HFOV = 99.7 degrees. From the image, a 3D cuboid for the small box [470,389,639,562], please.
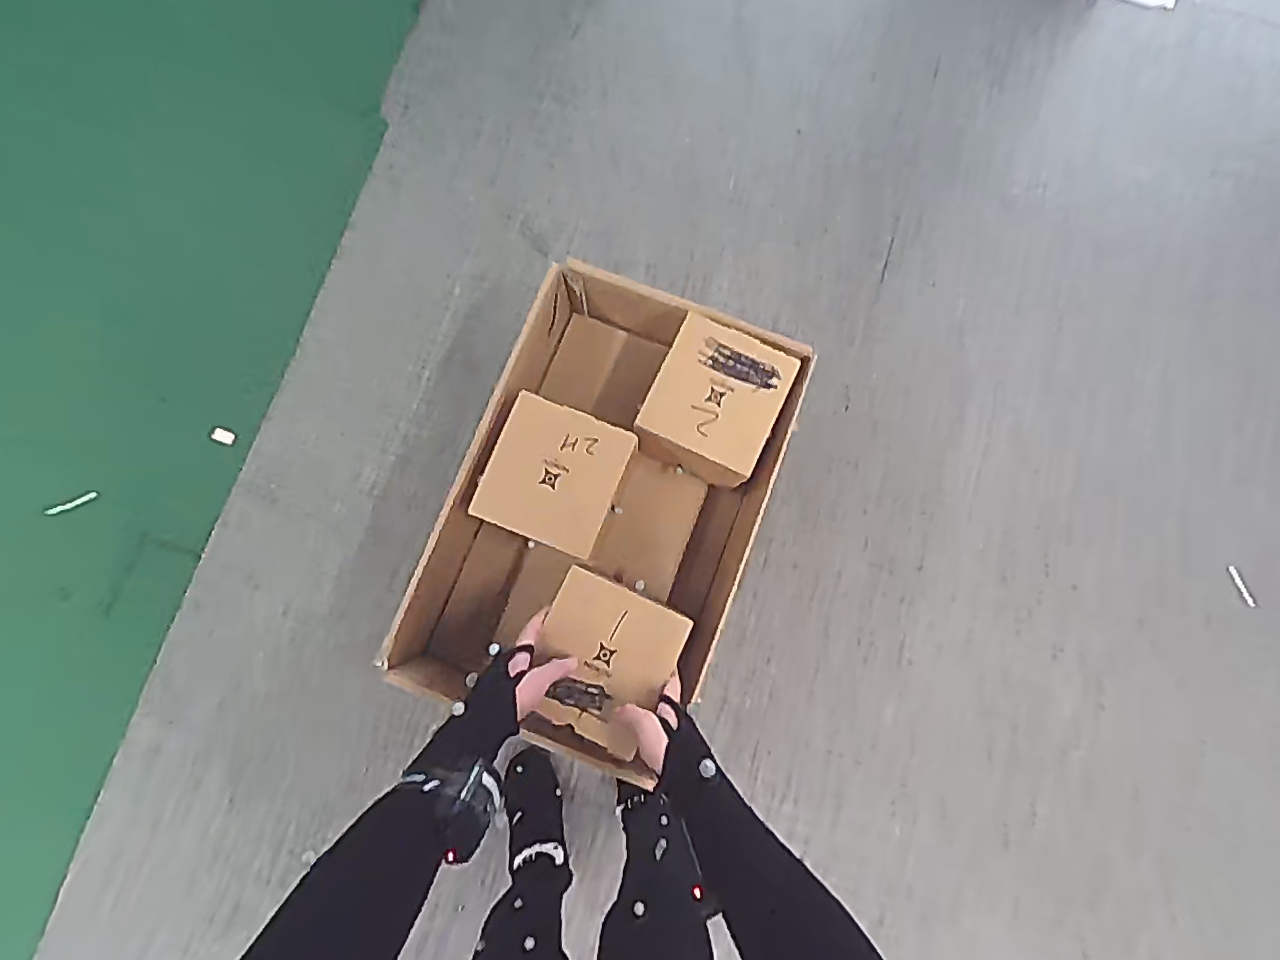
[{"bbox_3d":[-0.106,0.002,0.760,0.168,0.176,0.179,23,83,2],"label":"small box"}]
